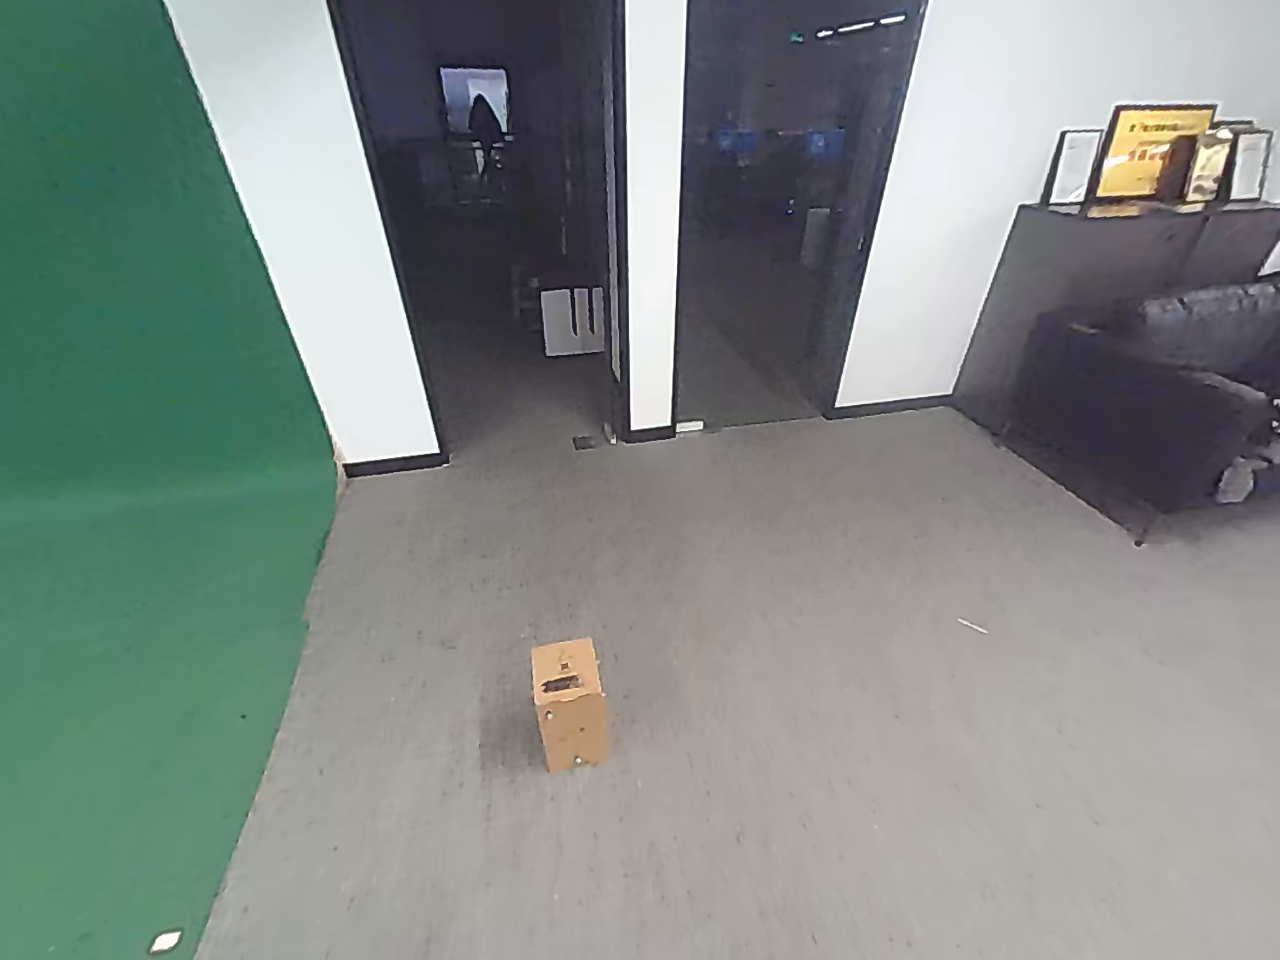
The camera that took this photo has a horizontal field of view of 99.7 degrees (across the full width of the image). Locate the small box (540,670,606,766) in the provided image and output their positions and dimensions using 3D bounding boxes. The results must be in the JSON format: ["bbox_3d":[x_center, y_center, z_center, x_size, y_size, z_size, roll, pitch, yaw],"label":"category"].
[{"bbox_3d":[-0.191,0.673,1.530,0.168,0.176,0.179,-8,37,-9],"label":"small box"}]
